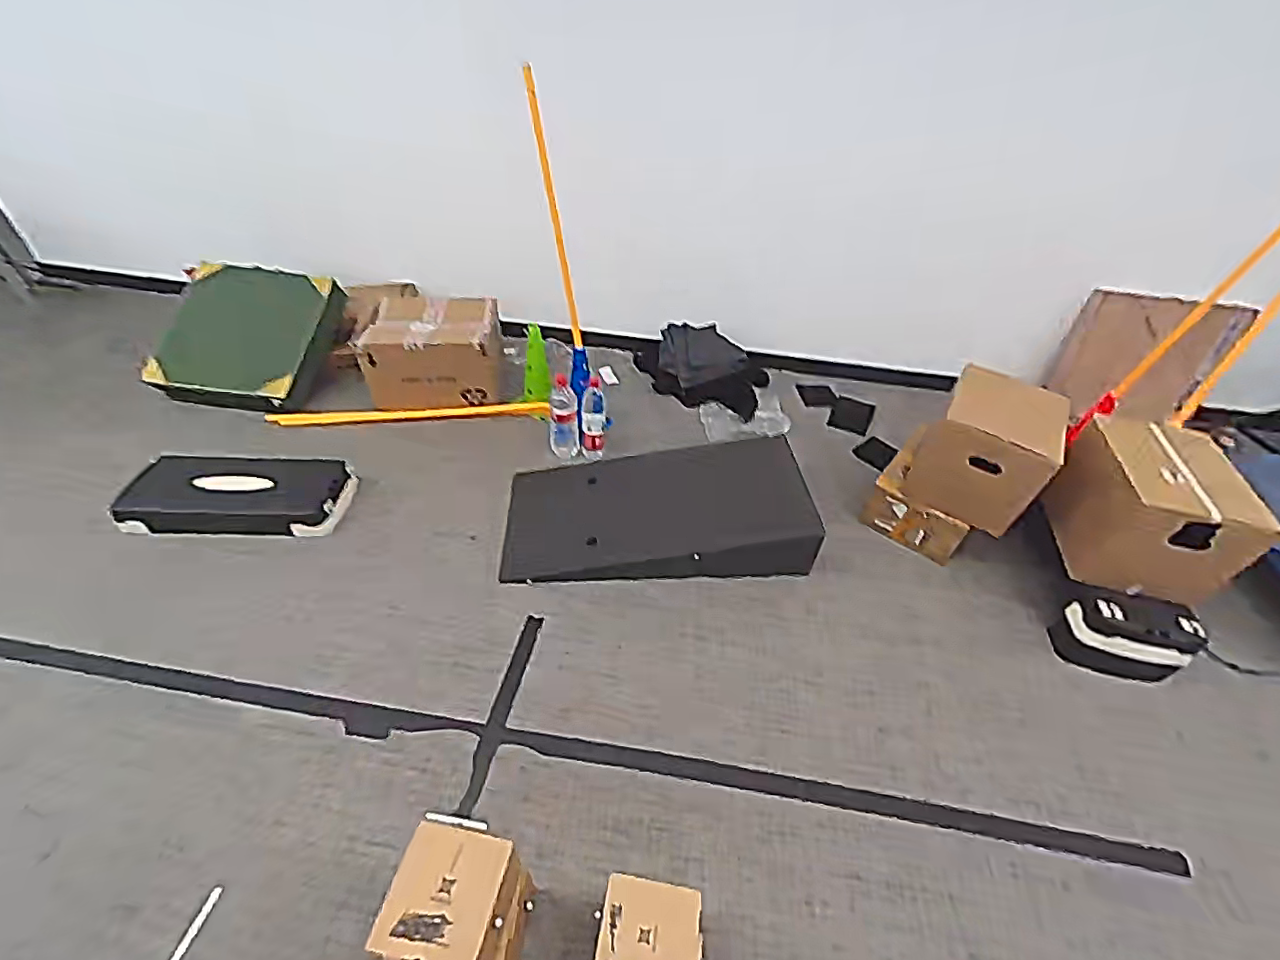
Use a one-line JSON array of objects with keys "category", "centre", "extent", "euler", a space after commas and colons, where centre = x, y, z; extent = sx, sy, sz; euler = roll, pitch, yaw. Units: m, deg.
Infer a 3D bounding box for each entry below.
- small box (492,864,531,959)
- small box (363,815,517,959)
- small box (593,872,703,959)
[{"category": "small box", "centre": [-0.309, 0.811, 0.998], "extent": [0.179, 0.176, 0.168], "euler": [8, 43, 5]}, {"category": "small box", "centre": [-0.309, 0.691, 0.886], "extent": [0.168, 0.176, 0.179], "euler": [11, 42, 6]}, {"category": "small box", "centre": [0.009, 0.848, 0.984], "extent": [0.179, 0.176, 0.168], "euler": [10, 43, 5]}]
